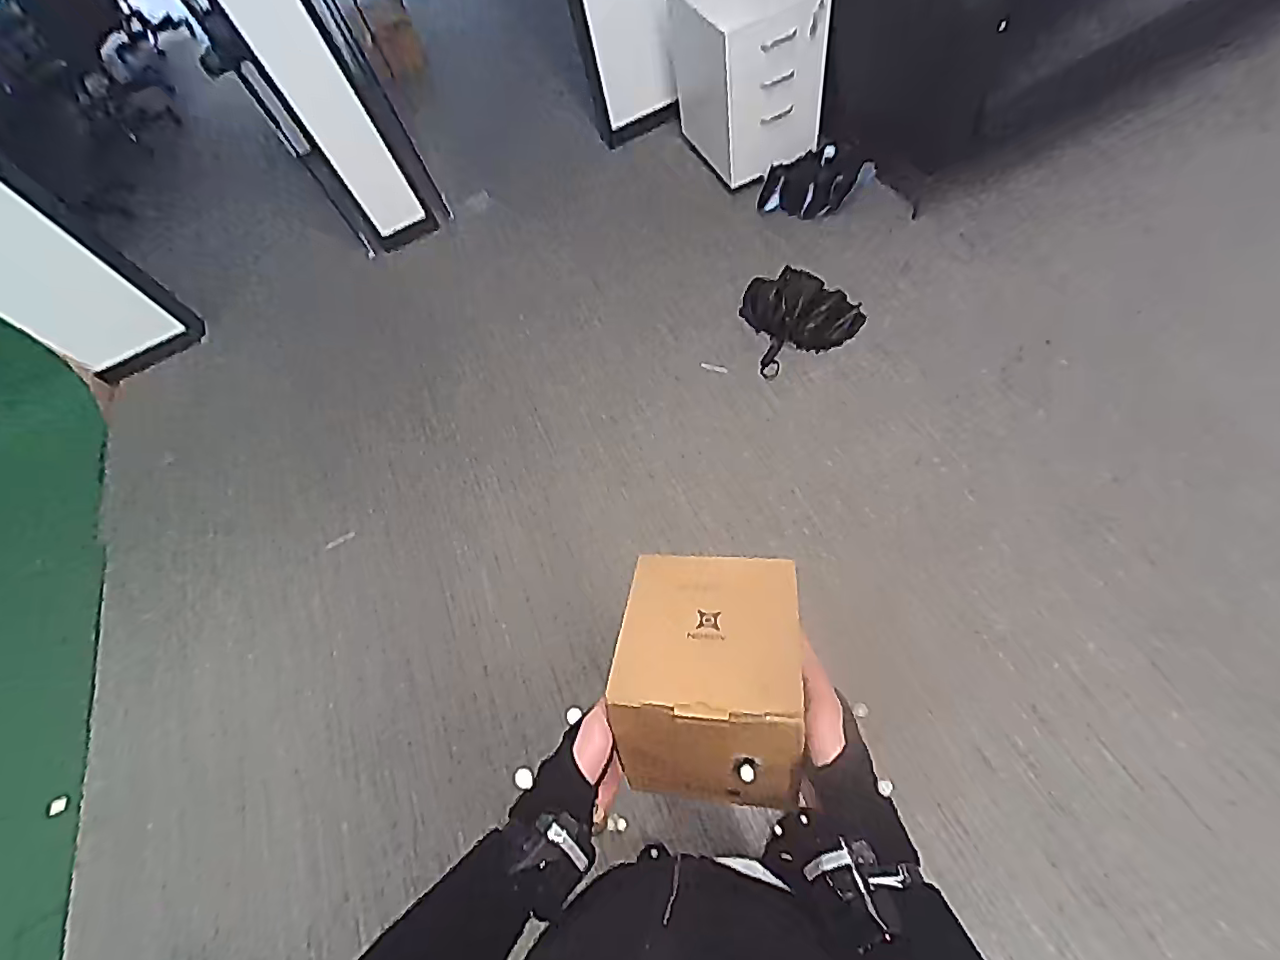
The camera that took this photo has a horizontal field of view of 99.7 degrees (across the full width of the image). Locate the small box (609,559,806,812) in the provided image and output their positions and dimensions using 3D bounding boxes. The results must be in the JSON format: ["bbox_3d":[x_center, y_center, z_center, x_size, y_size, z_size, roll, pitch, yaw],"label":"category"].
[{"bbox_3d":[0.077,0.204,0.550,0.168,0.176,0.179,1,35,12],"label":"small box"}]
